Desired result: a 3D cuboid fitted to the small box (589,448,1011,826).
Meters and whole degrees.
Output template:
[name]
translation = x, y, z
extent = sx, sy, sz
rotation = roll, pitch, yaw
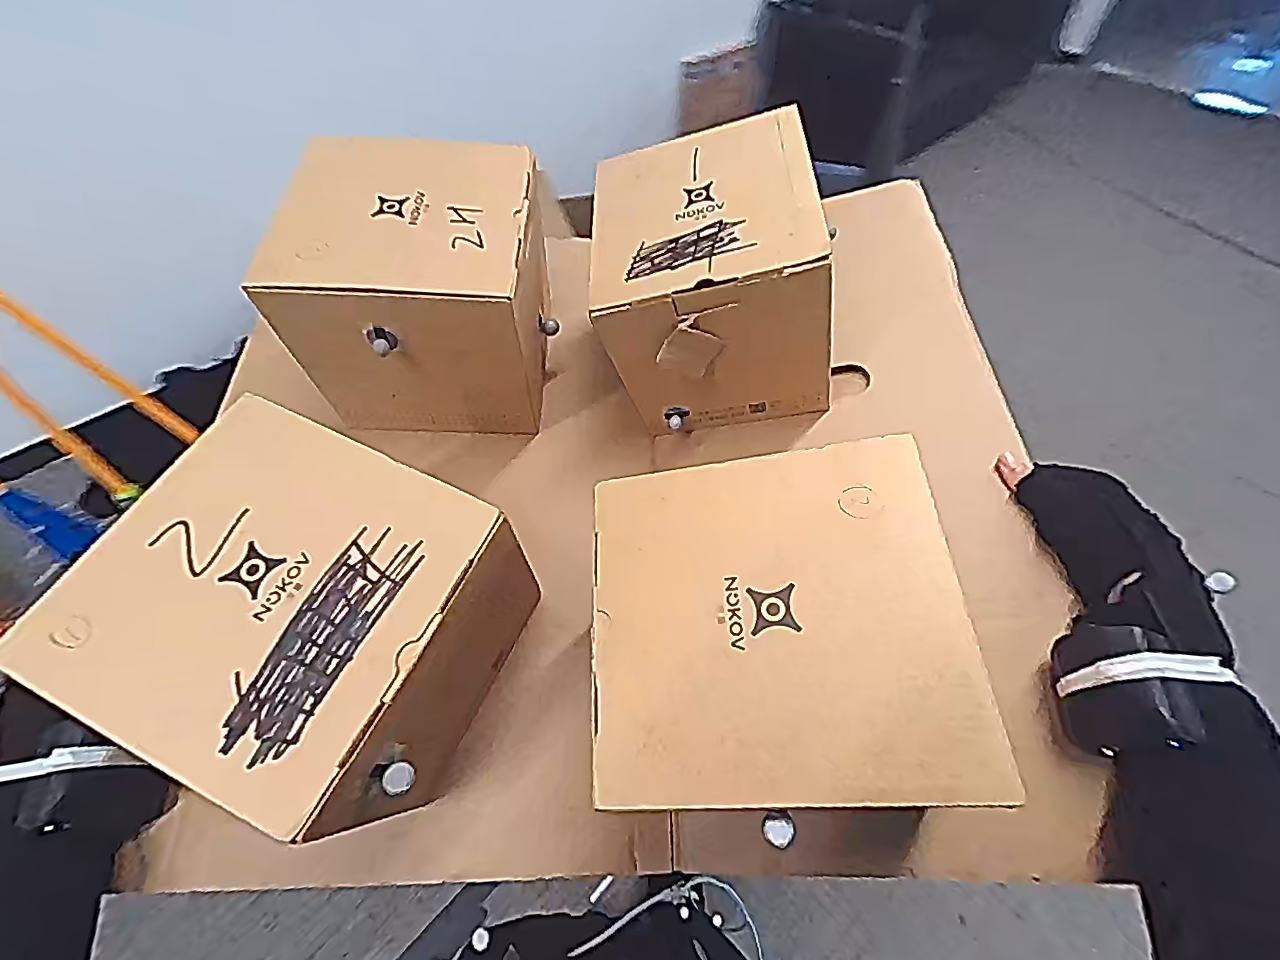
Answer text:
[small box]
translation = 0.082, 0.100, 0.329
extent = 0.179, 0.176, 0.168
rotation = -9, 63, 15
